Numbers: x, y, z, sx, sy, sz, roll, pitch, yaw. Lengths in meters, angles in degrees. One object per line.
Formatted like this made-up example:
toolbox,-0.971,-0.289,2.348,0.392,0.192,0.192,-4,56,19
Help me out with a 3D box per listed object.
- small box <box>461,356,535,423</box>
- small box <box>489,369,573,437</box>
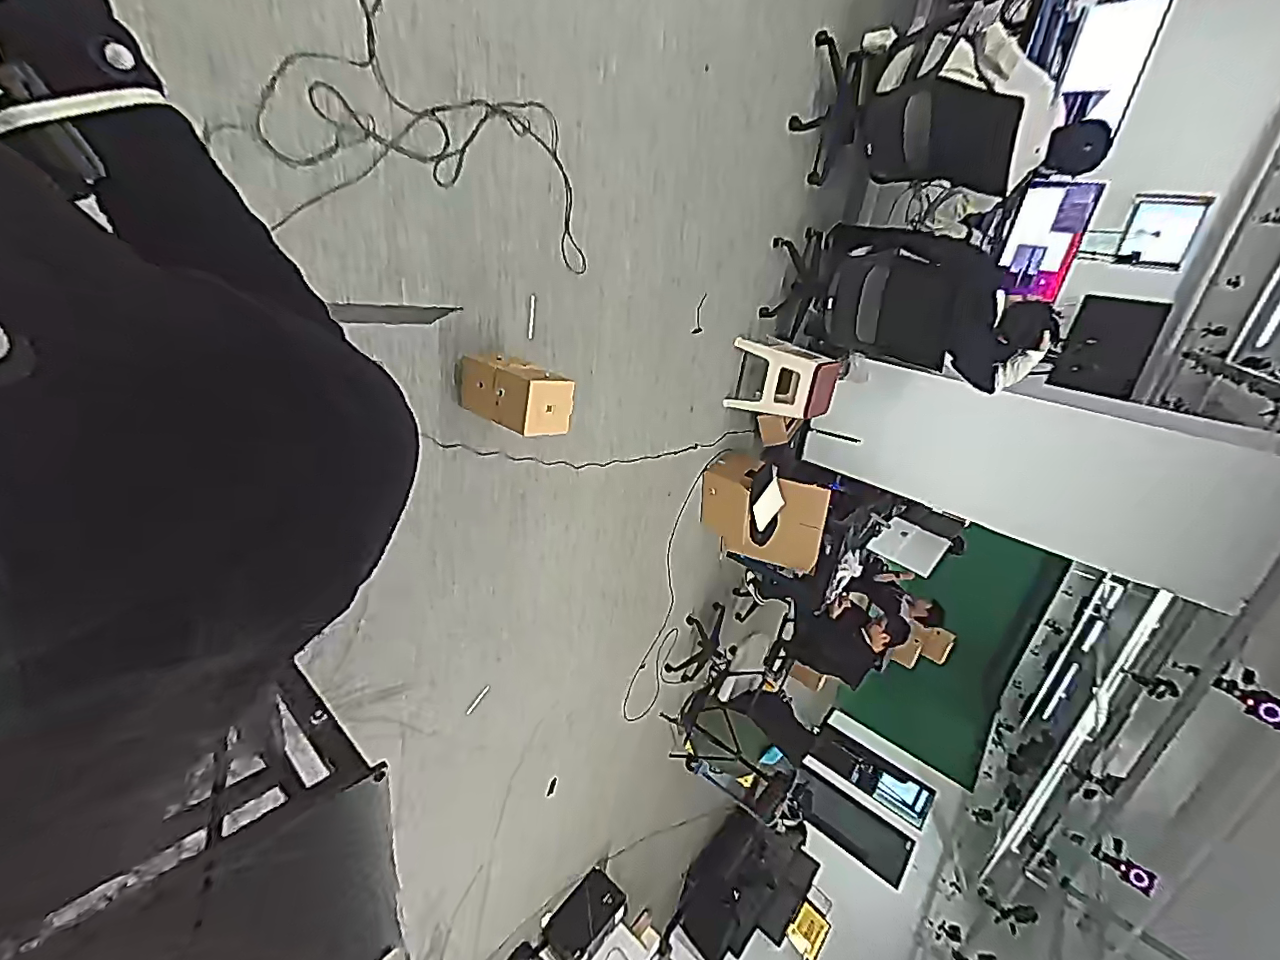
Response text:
small box,-0.455,-0.295,1.721,0.168,0.176,0.179,-18,123,-48
small box,-0.330,-0.236,1.633,0.179,0.176,0.168,-12,118,-49
